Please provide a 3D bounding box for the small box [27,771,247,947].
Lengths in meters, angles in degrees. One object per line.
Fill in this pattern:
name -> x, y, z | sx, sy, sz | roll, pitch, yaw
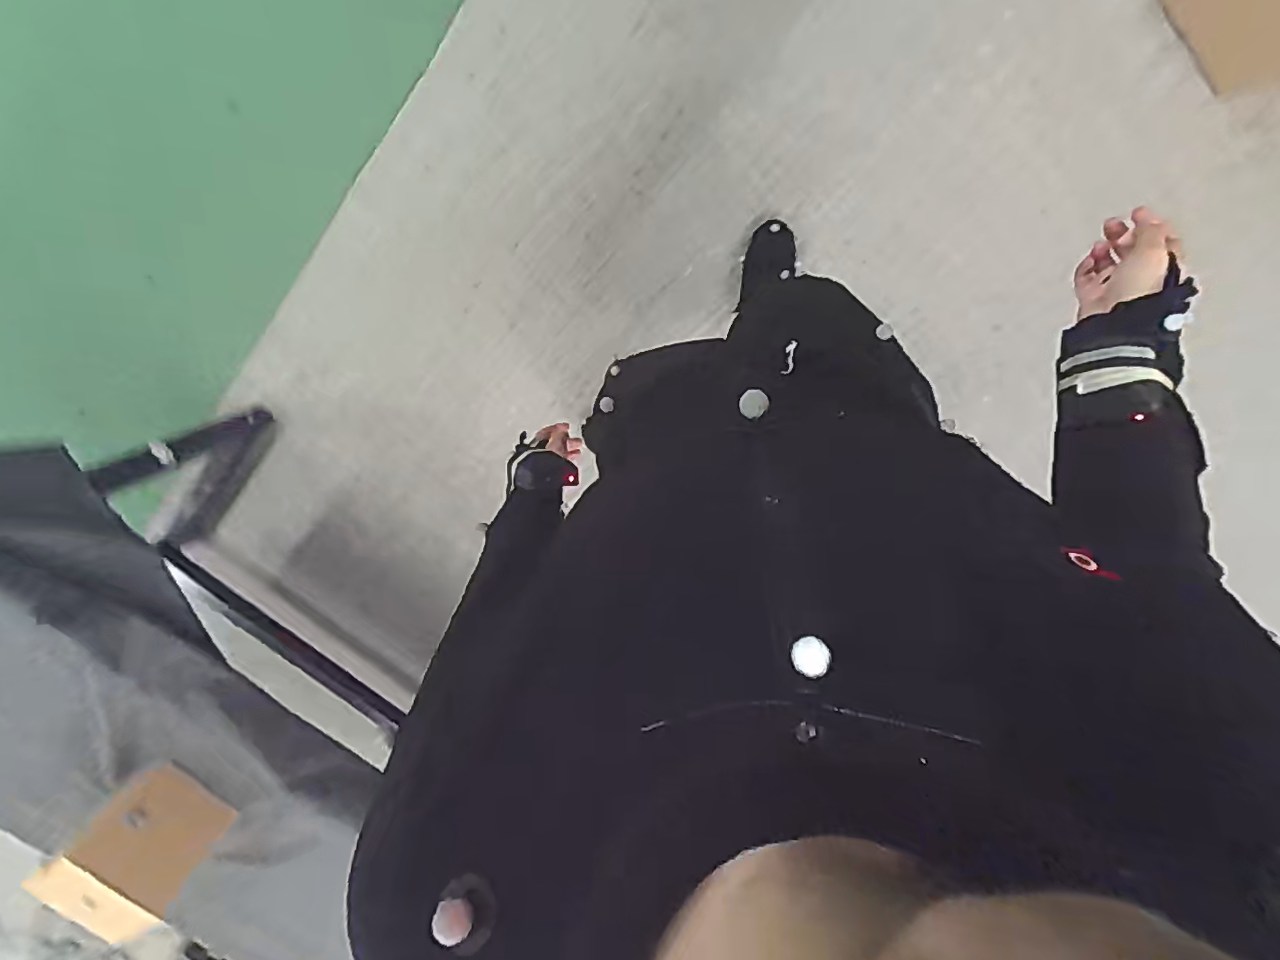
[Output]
small box -> -0.822, 0.618, 0.901 | 0.168, 0.176, 0.179 | -35, 106, 21
